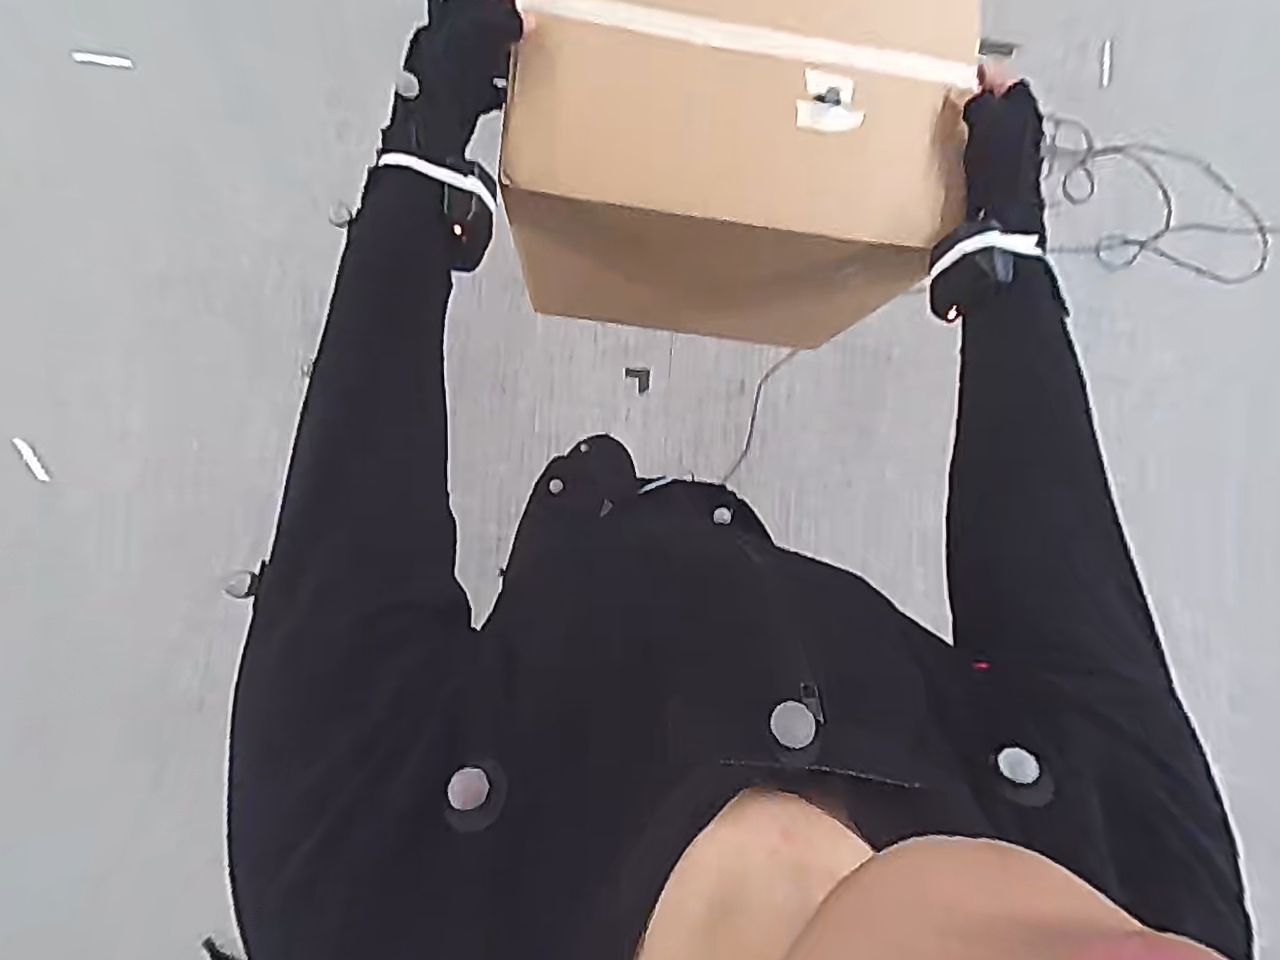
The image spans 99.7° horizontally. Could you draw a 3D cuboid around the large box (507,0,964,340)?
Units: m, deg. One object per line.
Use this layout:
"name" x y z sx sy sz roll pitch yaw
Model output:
"large box" 0.077 -0.375 0.624 0.408 0.320 0.320 6 88 -7
